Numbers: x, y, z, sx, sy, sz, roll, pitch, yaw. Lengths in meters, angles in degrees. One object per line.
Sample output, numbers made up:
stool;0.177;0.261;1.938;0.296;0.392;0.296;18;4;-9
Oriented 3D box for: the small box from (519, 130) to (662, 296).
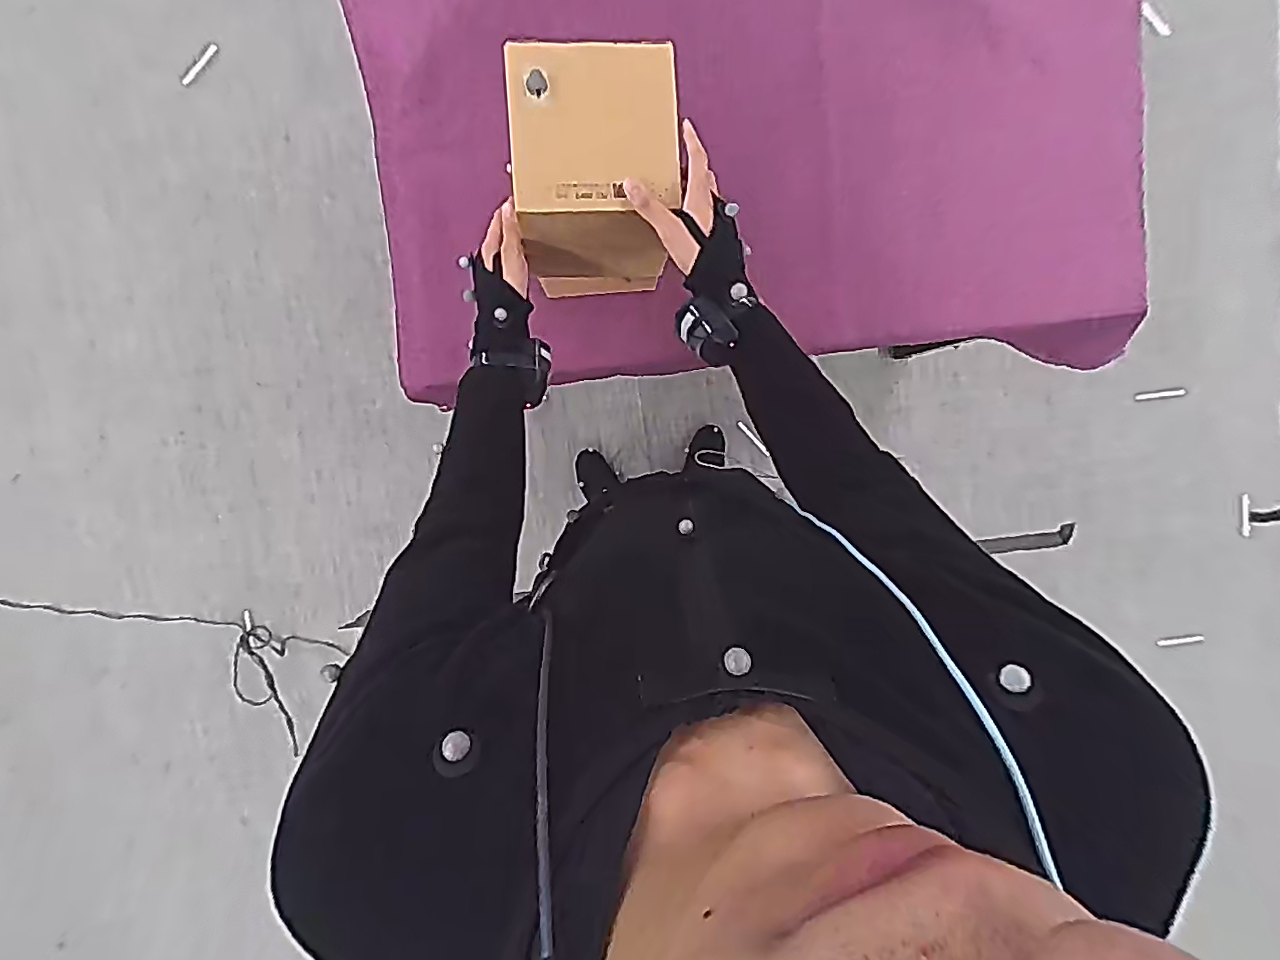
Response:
small box;-0.067;-0.372;0.779;0.179;0.176;0.168;-5;95;-2
